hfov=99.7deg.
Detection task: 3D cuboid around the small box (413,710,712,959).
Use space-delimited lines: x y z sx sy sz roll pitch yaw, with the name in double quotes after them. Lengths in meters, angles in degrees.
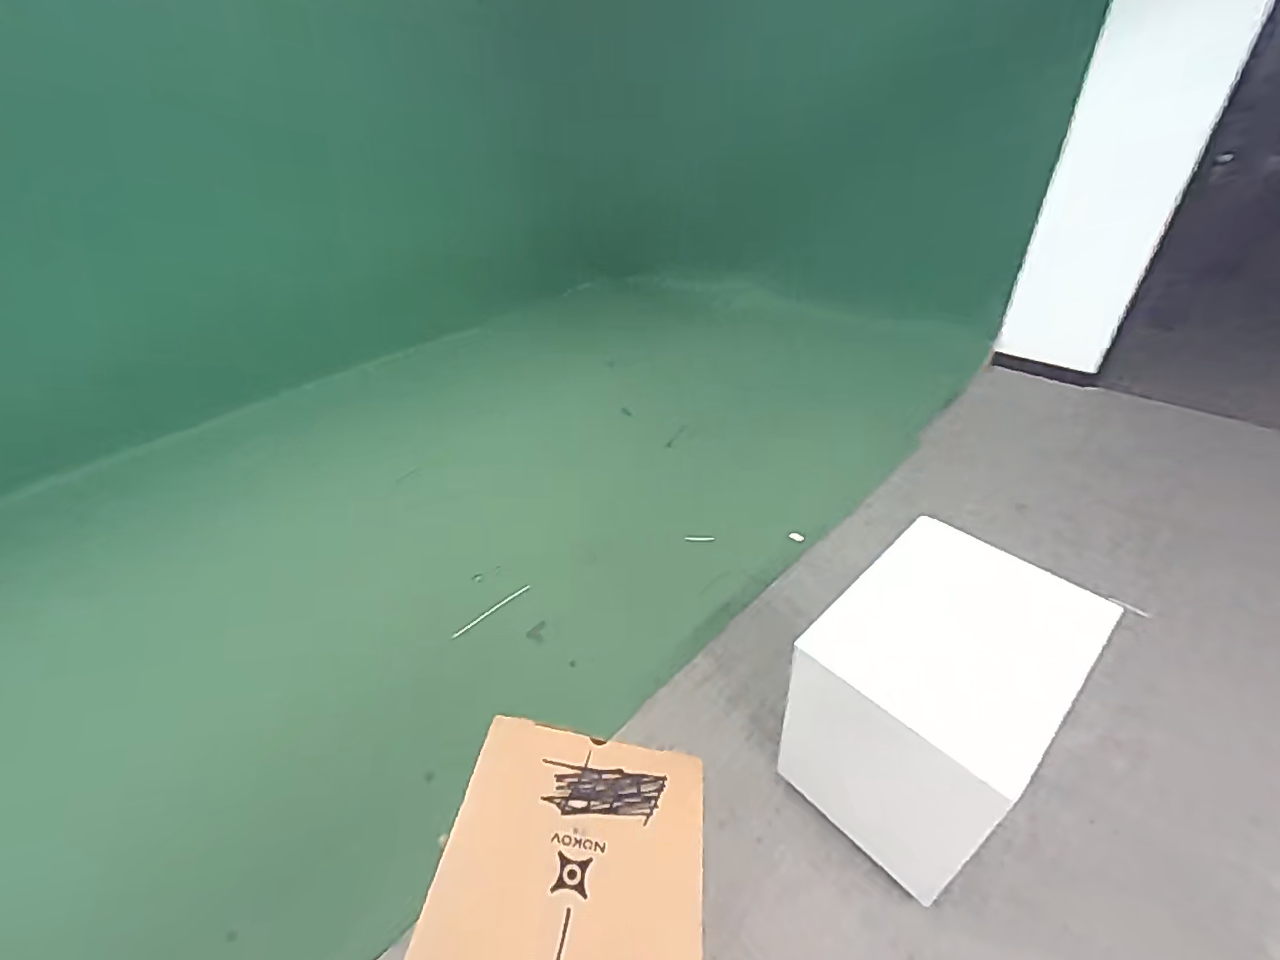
-0.049 0.308 0.391 0.168 0.176 0.179 12 32 1 "small box"
